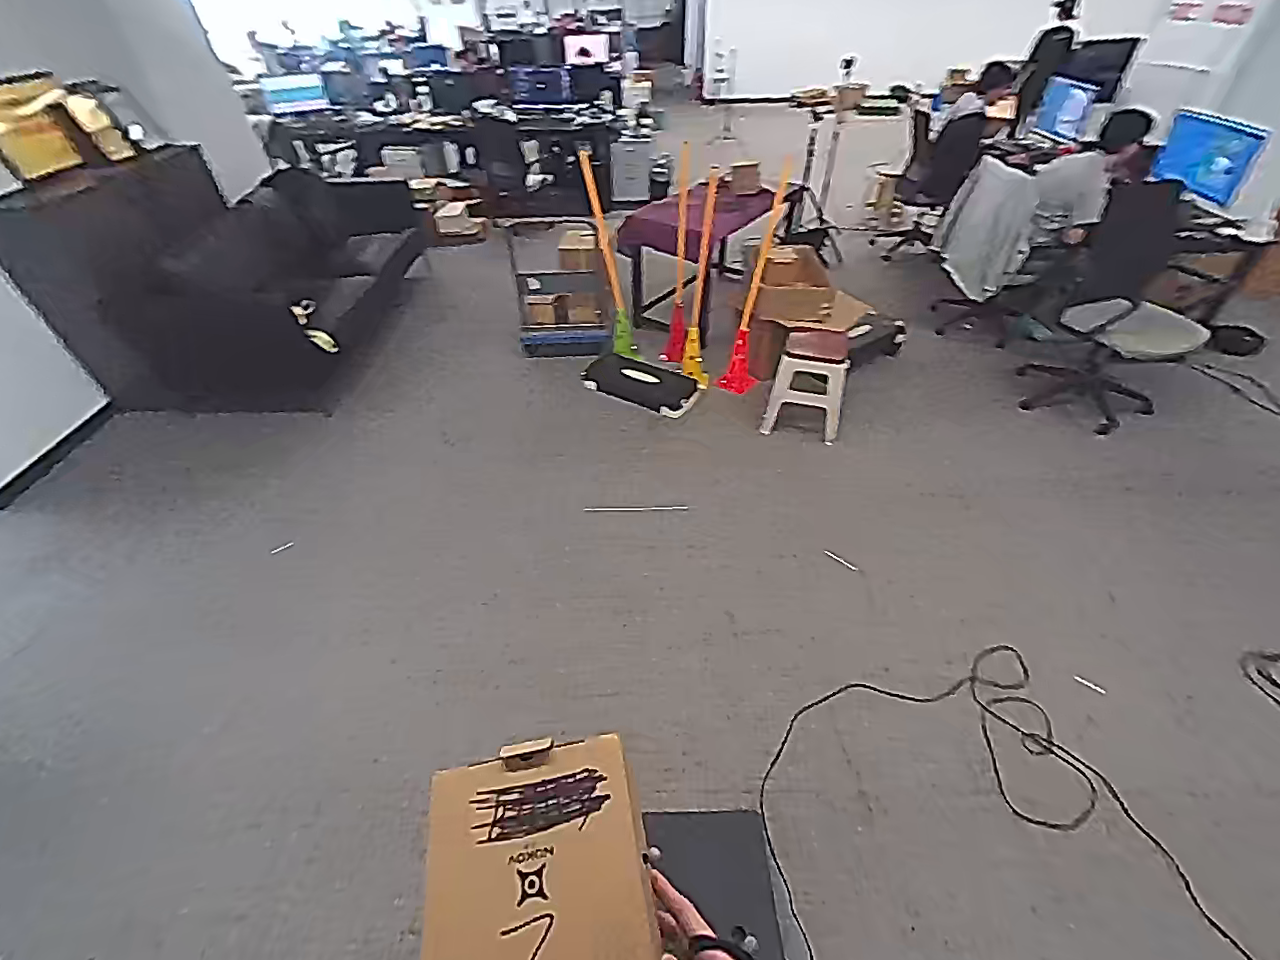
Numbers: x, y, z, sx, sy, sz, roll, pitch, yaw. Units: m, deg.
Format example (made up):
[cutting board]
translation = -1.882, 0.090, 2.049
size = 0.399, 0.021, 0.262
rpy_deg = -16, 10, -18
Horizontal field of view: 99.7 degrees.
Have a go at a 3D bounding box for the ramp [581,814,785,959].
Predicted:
[ramp]
translation = 0.101, 1.241, 1.144
size = 0.509, 0.206, 0.991
rpy_deg = -3, 42, 0
